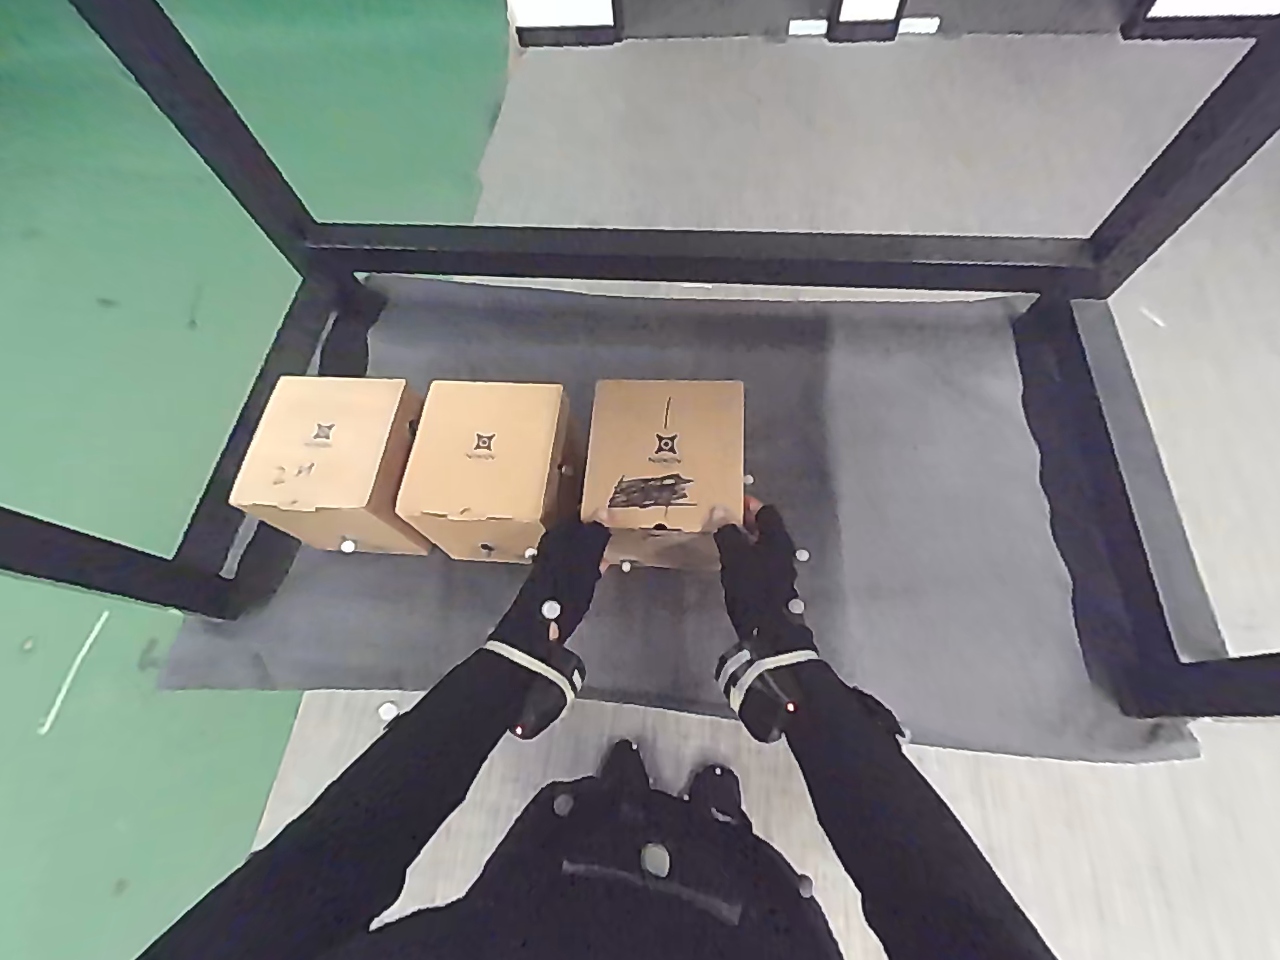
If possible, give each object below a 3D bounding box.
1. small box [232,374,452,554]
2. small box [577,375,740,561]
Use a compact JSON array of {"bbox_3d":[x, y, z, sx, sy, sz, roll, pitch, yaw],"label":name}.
[{"bbox_3d":[-0.364,-0.017,0.704,0.168,0.176,0.179,2,65,6],"label":"small box"},{"bbox_3d":[0.032,-0.006,0.641,0.168,0.176,0.179,1,68,7],"label":"small box"}]
